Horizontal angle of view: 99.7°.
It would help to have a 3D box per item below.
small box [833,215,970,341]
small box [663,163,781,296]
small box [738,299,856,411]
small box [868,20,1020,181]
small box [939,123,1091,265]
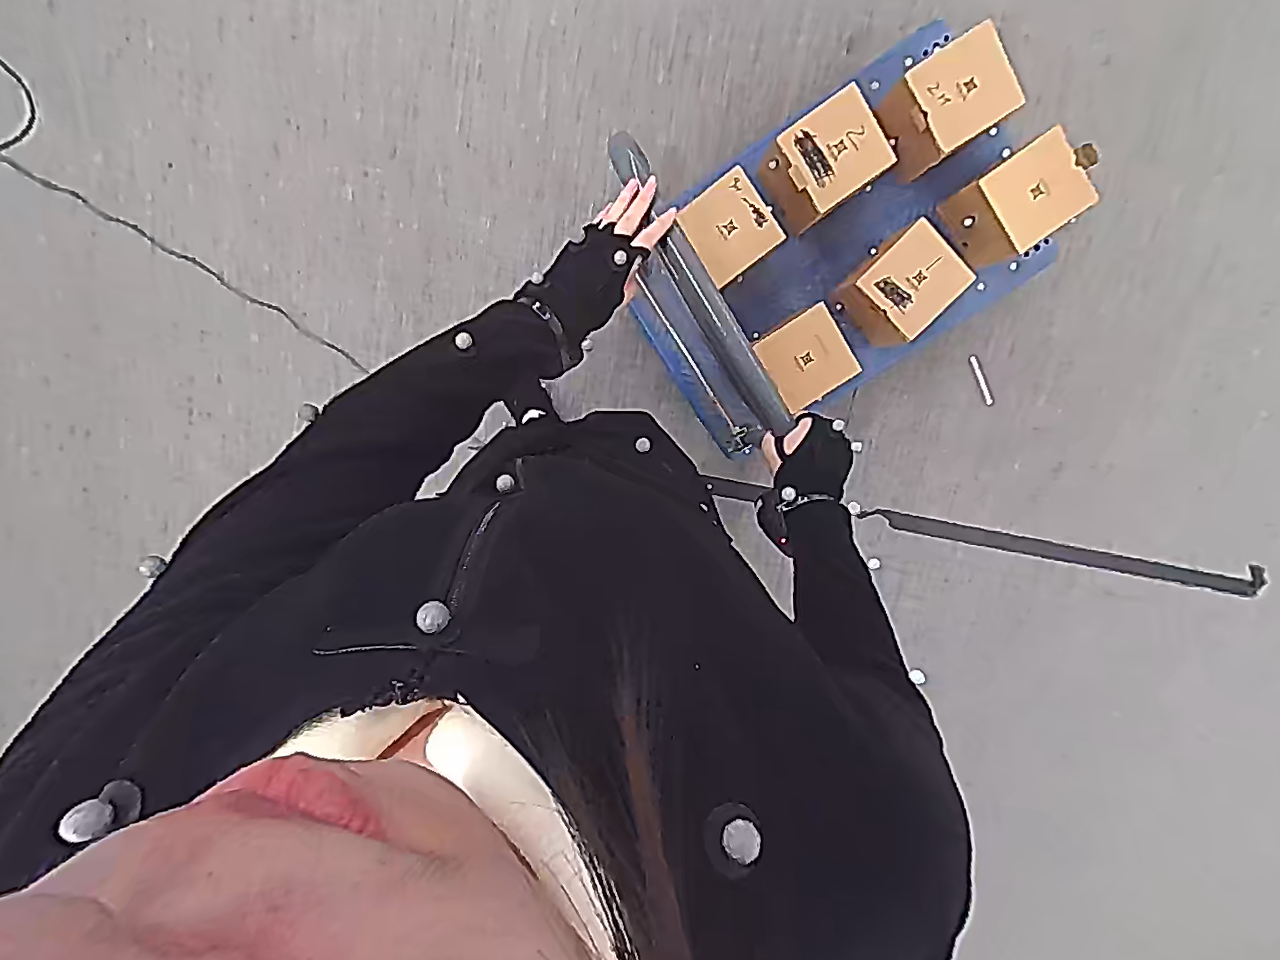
[{"bbox_3d":[0.538,-0.415,1.149,0.168,0.176,0.179,44,97,-7],"label":"small box"},{"bbox_3d":[0.163,-0.508,1.130,0.179,0.176,0.168,-36,100,6],"label":"small box"},{"bbox_3d":[0.330,-0.266,1.179,0.179,0.176,0.168,-32,100,5],"label":"small box"},{"bbox_3d":[0.599,-0.746,1.086,0.179,0.176,0.168,-31,99,6],"label":"small box"},{"bbox_3d":[0.757,-0.576,1.120,0.179,0.176,0.168,-36,98,6],"label":"small box"}]
